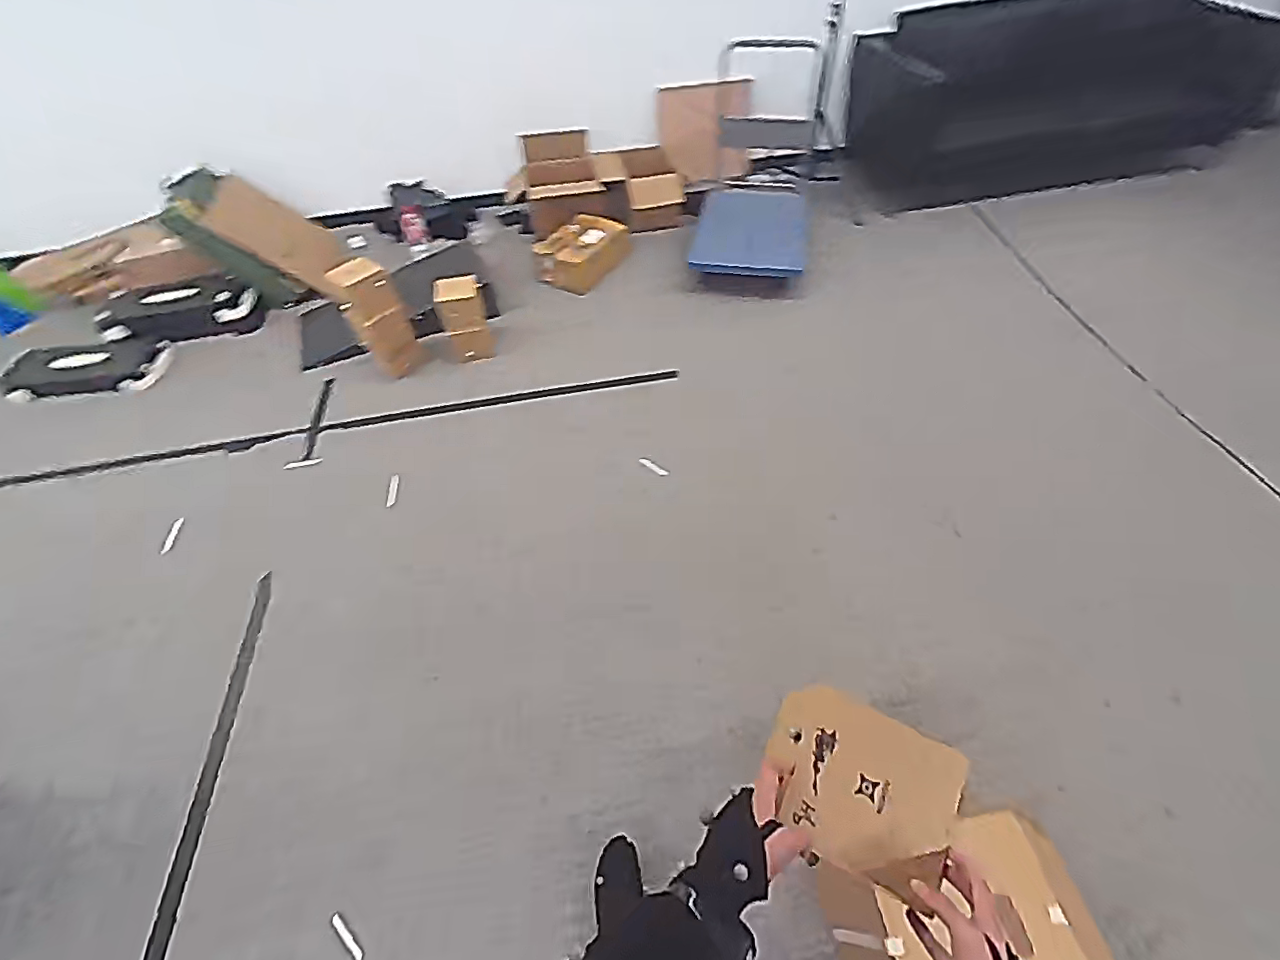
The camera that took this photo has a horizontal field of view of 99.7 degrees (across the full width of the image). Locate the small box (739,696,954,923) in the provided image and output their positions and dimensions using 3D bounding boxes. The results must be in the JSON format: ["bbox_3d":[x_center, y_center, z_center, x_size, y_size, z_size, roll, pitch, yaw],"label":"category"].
[{"bbox_3d":[0.243,0.388,0.672,0.179,0.176,0.168,25,68,10],"label":"small box"}]
